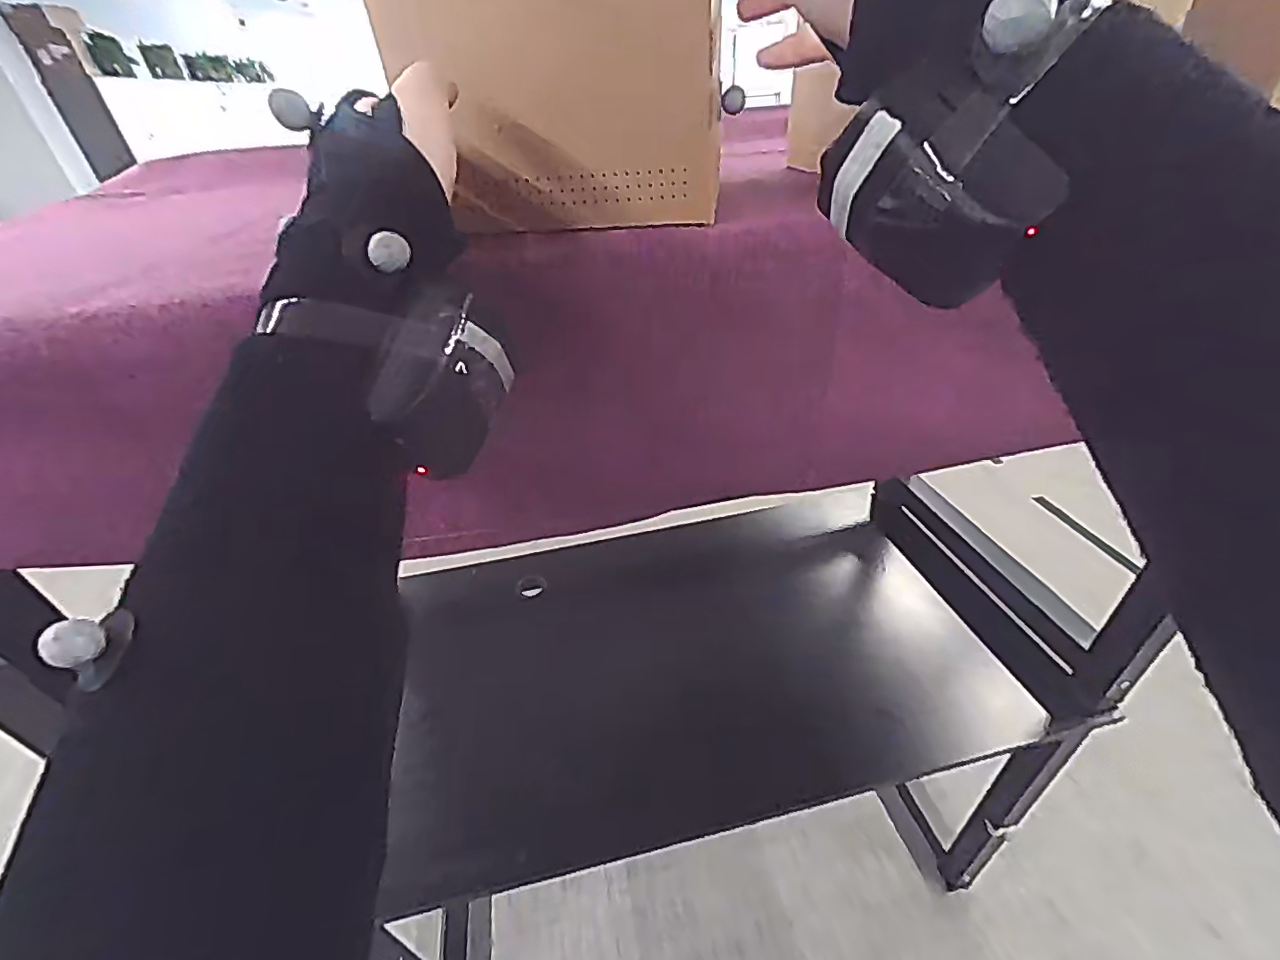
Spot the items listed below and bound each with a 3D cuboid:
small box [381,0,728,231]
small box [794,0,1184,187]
[{"bbox_3d":[-0.038,-0.258,0.328,0.179,0.176,0.168,2,37,9],"label":"small box"},{"bbox_3d":[0.218,-0.302,0.363,0.168,0.176,0.179,-10,35,-7],"label":"small box"}]
